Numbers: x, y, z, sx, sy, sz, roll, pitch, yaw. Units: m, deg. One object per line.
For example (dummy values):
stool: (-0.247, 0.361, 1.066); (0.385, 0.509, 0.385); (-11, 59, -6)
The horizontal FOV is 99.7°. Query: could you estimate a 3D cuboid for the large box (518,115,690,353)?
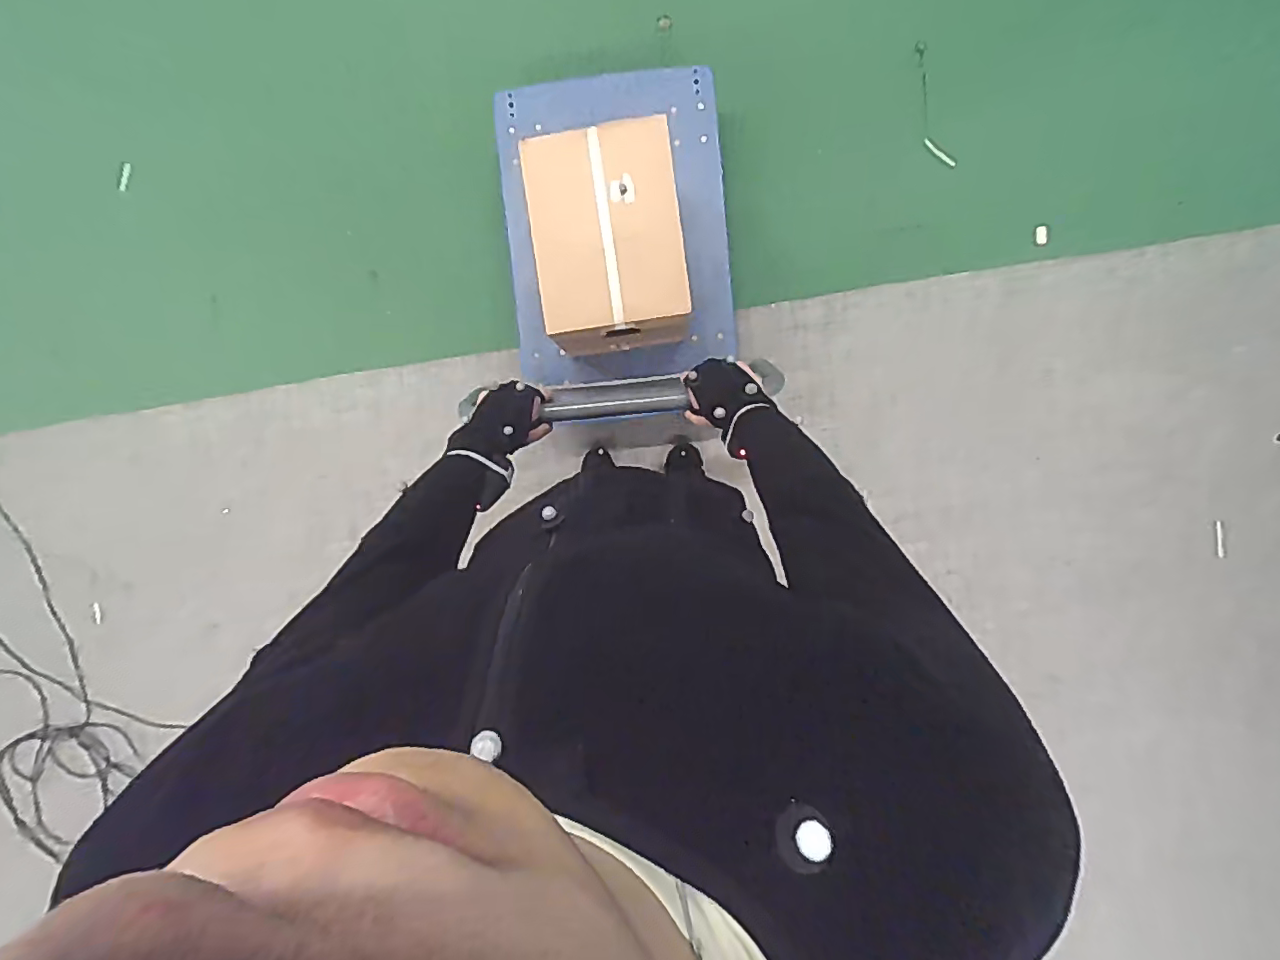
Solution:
large box: (-0.067, -0.543, 1.277); (0.320, 0.320, 0.408); (-8, 94, 3)
